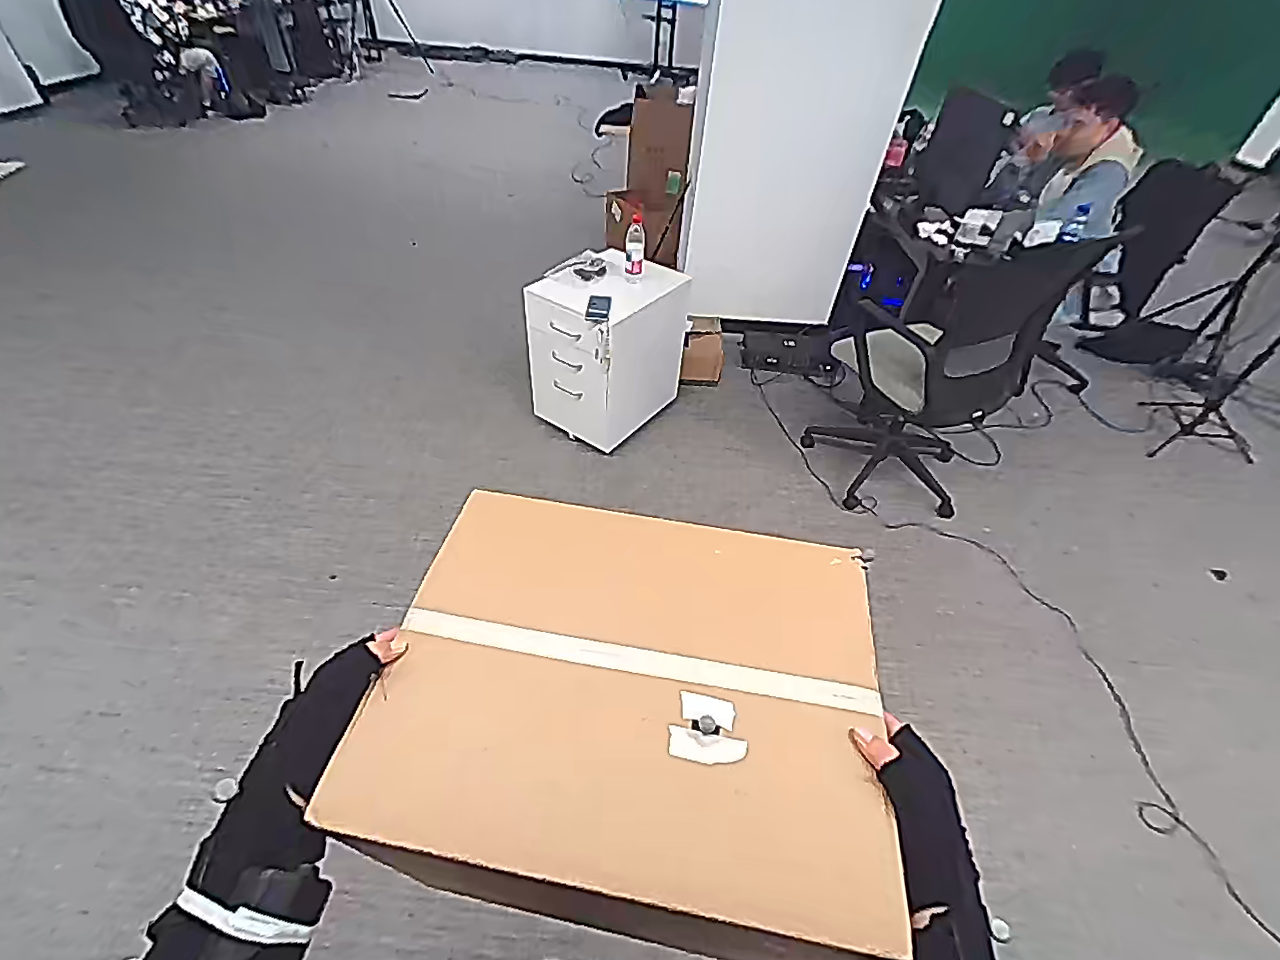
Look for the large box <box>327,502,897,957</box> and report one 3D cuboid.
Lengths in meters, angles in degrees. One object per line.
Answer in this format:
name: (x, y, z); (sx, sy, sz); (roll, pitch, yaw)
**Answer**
large box: (-0.011, 0.260, 0.573); (0.408, 0.320, 0.320); (9, 48, 5)
